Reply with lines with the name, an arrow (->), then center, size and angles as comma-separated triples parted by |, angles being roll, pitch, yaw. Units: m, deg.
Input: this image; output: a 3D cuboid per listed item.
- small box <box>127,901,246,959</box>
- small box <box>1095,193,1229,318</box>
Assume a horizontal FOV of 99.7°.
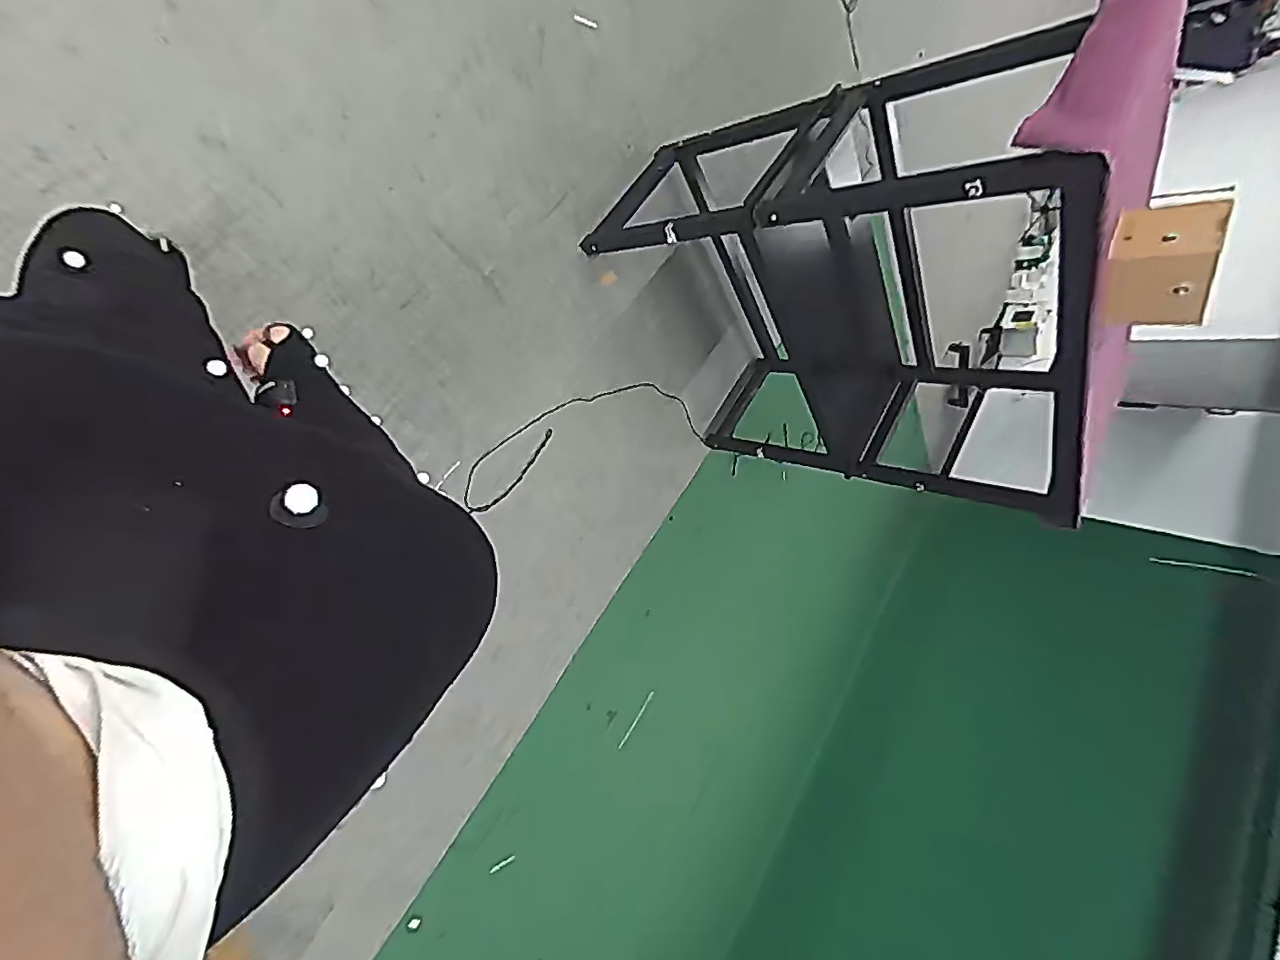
small box -> -1.189, 1.249, 1.416 | 0.168, 0.176, 0.179 | -55, 133, -19
small box -> 1.060, -0.449, 1.109 | 0.168, 0.176, 0.179 | -55, 134, -20
